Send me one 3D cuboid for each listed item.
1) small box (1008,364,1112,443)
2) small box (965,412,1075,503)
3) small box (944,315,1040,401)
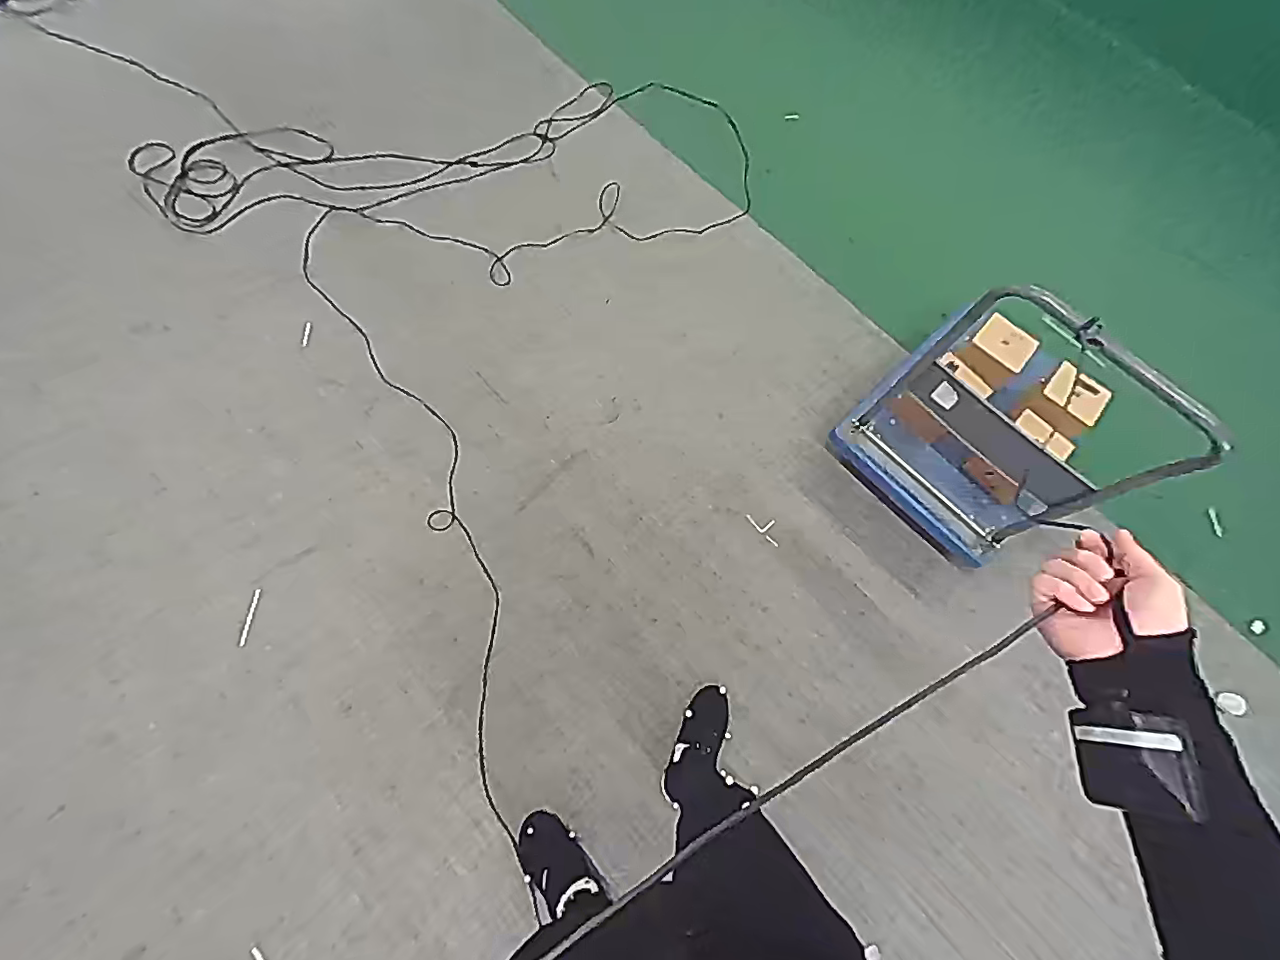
[{"bbox_3d":[1.304,-0.220,1.690,0.168,0.176,0.179,43,68,12],"label":"small box"},{"bbox_3d":[1.107,-0.062,1.591,0.179,0.176,0.168,-38,76,-21],"label":"small box"},{"bbox_3d":[1.121,-0.386,1.738,0.168,0.176,0.179,43,67,10],"label":"small box"}]
